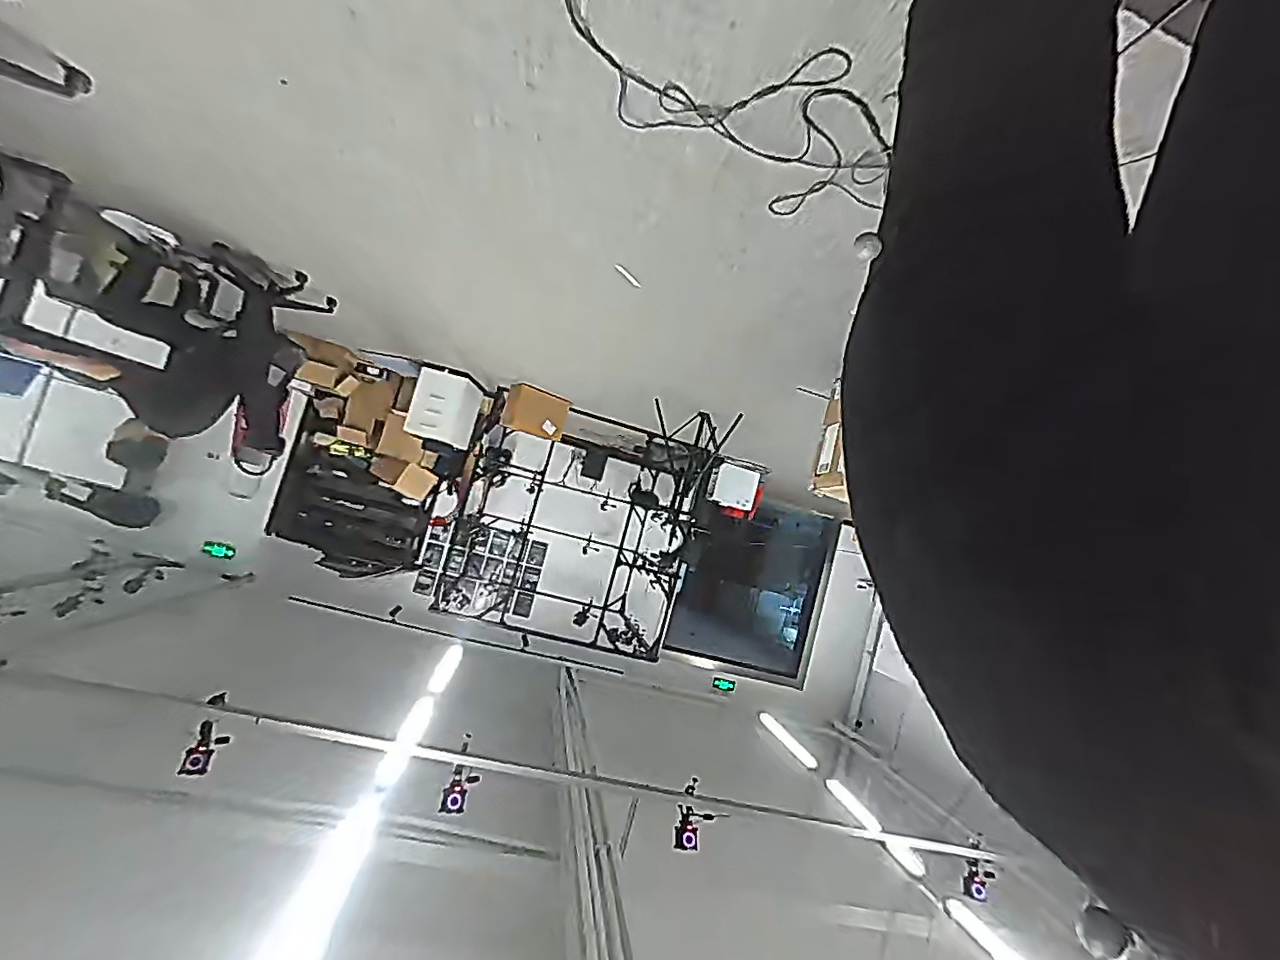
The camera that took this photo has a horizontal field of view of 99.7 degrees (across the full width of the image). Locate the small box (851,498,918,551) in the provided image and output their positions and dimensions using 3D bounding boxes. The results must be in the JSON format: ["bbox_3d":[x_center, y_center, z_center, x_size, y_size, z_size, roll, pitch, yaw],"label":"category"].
[{"bbox_3d":[0.955,0.173,2.106,0.168,0.176,0.179,15,172,-6],"label":"small box"}]
